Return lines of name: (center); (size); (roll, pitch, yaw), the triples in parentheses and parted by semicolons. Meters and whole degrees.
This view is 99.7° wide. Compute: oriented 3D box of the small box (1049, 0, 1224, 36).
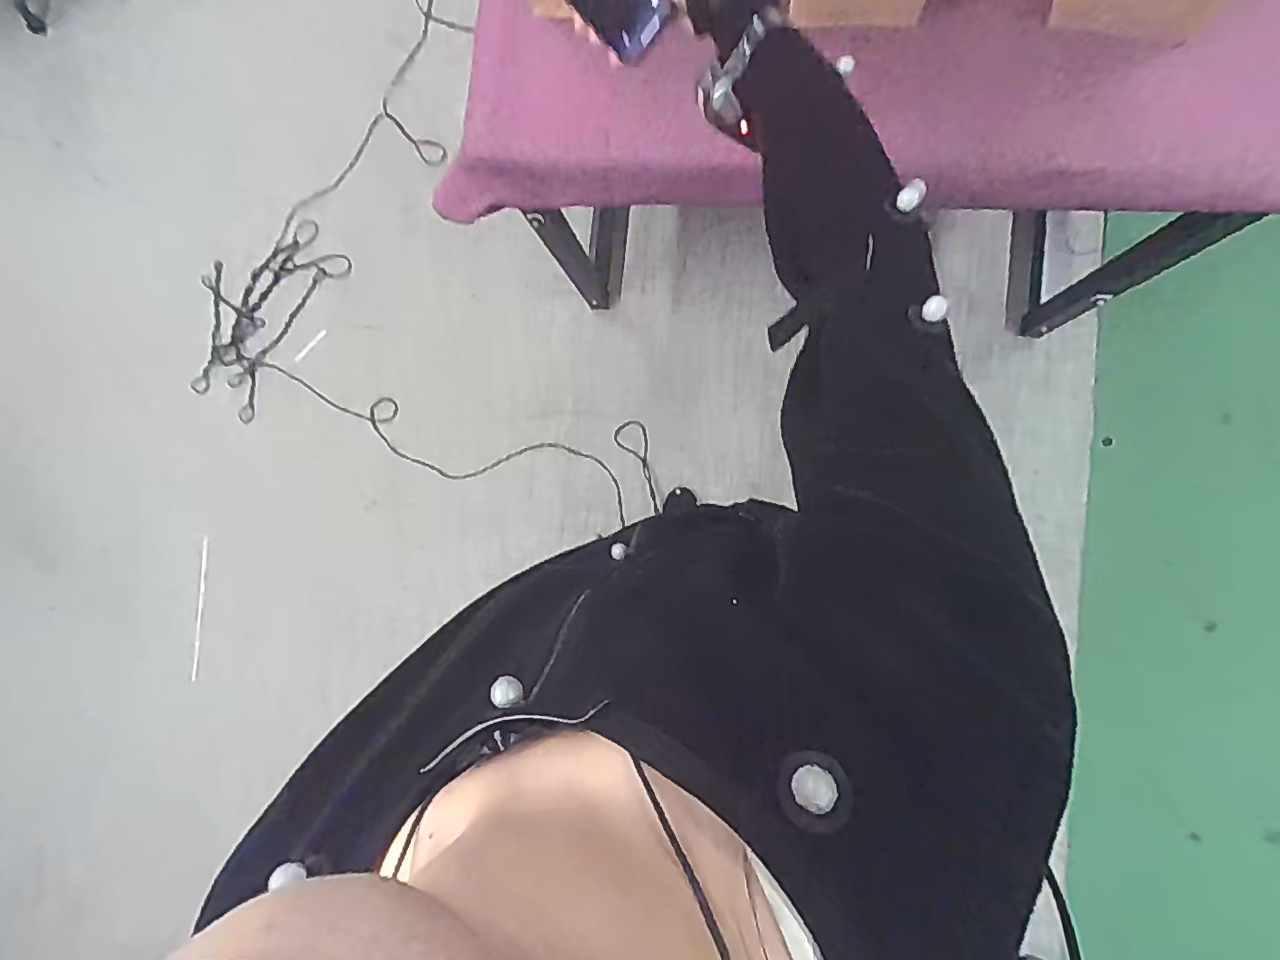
small box: (0.627, -0.661, 0.622); (0.179, 0.176, 0.168); (14, 89, 10)

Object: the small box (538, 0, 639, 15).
small box: (-0.082, -0.792, 0.746); (0.168, 0.176, 0.179); (8, 89, 10)

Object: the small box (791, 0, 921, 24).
small box: (0.297, -0.720, 0.678); (0.179, 0.176, 0.168); (8, 89, 10)
